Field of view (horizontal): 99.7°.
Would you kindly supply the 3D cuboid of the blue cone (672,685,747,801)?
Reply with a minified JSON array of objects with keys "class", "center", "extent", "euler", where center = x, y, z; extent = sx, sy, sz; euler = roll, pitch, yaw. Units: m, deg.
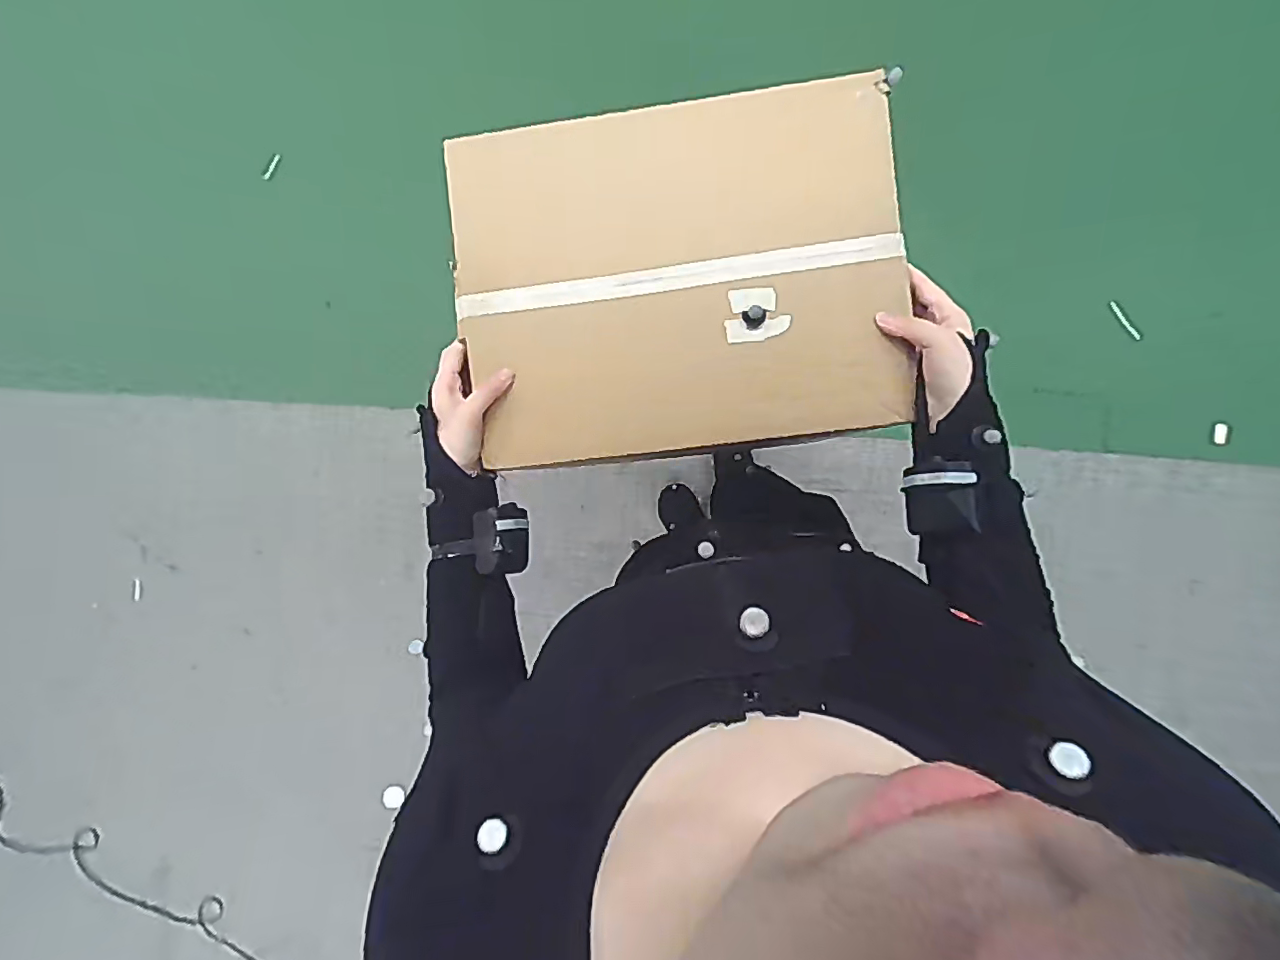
[{"class":"blue cone","center":[0.180,0.685,1.353],"extent":[0.193,0.380,0.192],"euler":[13,92,4]}]

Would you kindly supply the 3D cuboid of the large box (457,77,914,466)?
[{"class":"large box","center":[0.044,-0.194,0.651],"extent":[0.408,0.320,0.320],"euler":[-6,91,3]}]
